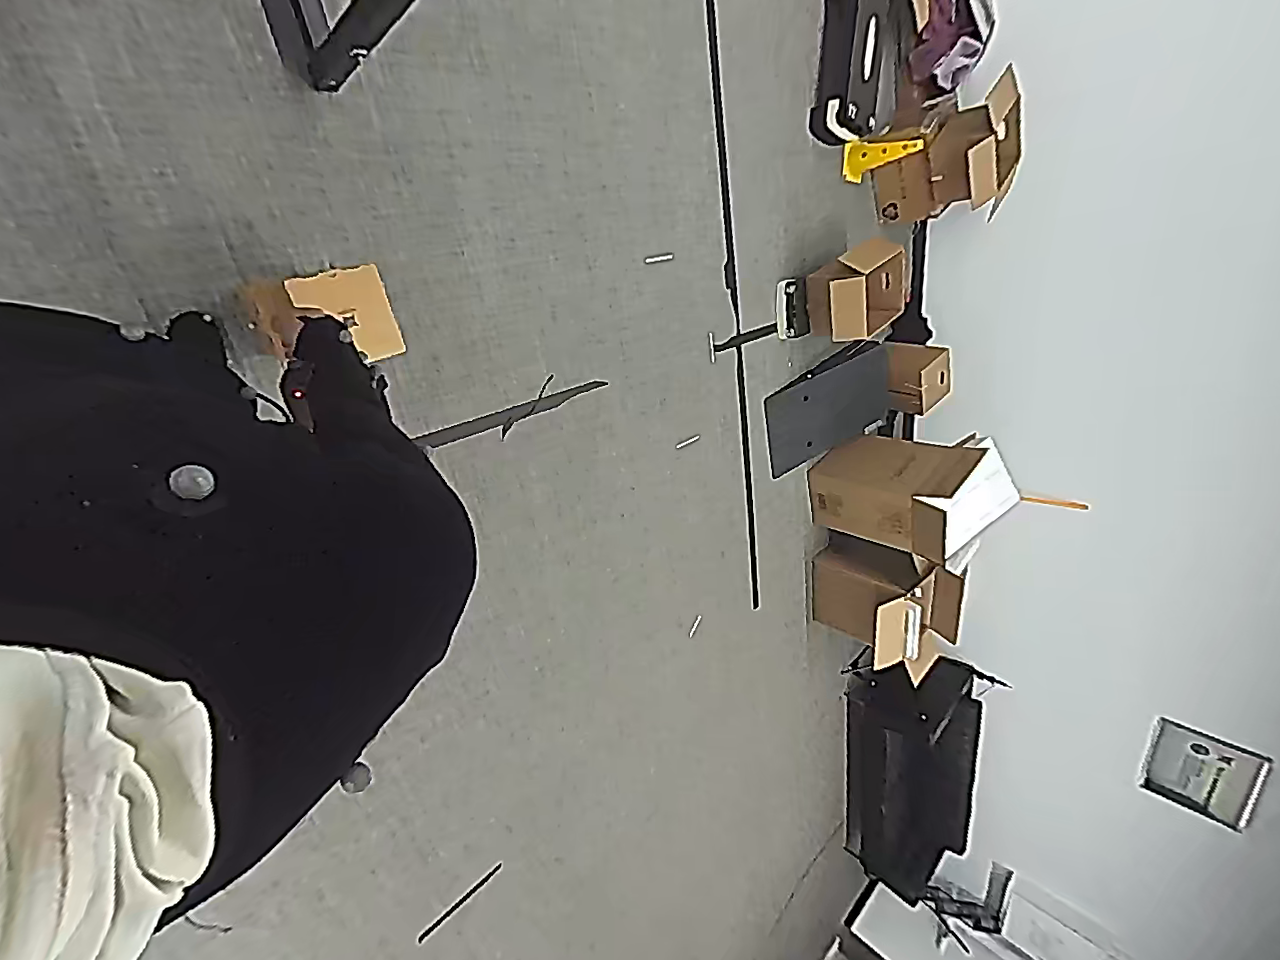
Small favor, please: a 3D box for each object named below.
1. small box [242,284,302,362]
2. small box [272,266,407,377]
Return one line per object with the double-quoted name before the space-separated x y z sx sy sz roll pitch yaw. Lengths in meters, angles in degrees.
"small box" -0.826 -0.395 1.315 0.179 0.176 0.168 -29 120 -34
"small box" -0.603 -0.321 1.087 0.168 0.176 0.179 -31 122 -33
